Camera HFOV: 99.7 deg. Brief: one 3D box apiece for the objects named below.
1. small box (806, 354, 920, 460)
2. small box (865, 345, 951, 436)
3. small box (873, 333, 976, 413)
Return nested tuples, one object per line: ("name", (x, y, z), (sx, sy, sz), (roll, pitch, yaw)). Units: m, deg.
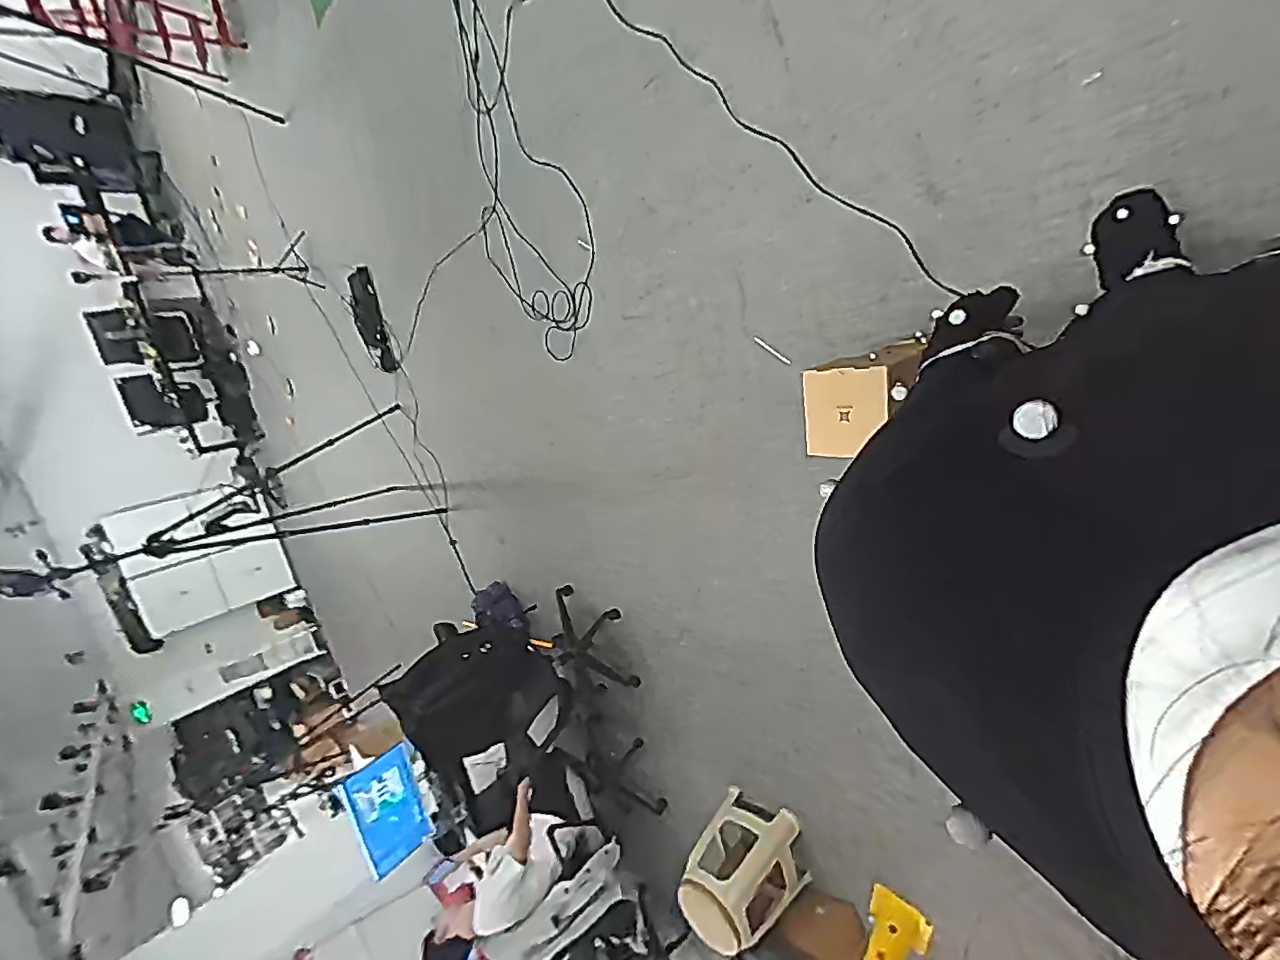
("small box", (0.456, -0.151, 1.097), (0.168, 0.176, 0.179), (7, 112, 44))
("small box", (0.573, -0.198, 1.200), (0.168, 0.176, 0.179), (1, 109, 46))
("small box", (0.689, -0.252, 1.306), (0.168, 0.176, 0.179), (-3, 104, 50))
